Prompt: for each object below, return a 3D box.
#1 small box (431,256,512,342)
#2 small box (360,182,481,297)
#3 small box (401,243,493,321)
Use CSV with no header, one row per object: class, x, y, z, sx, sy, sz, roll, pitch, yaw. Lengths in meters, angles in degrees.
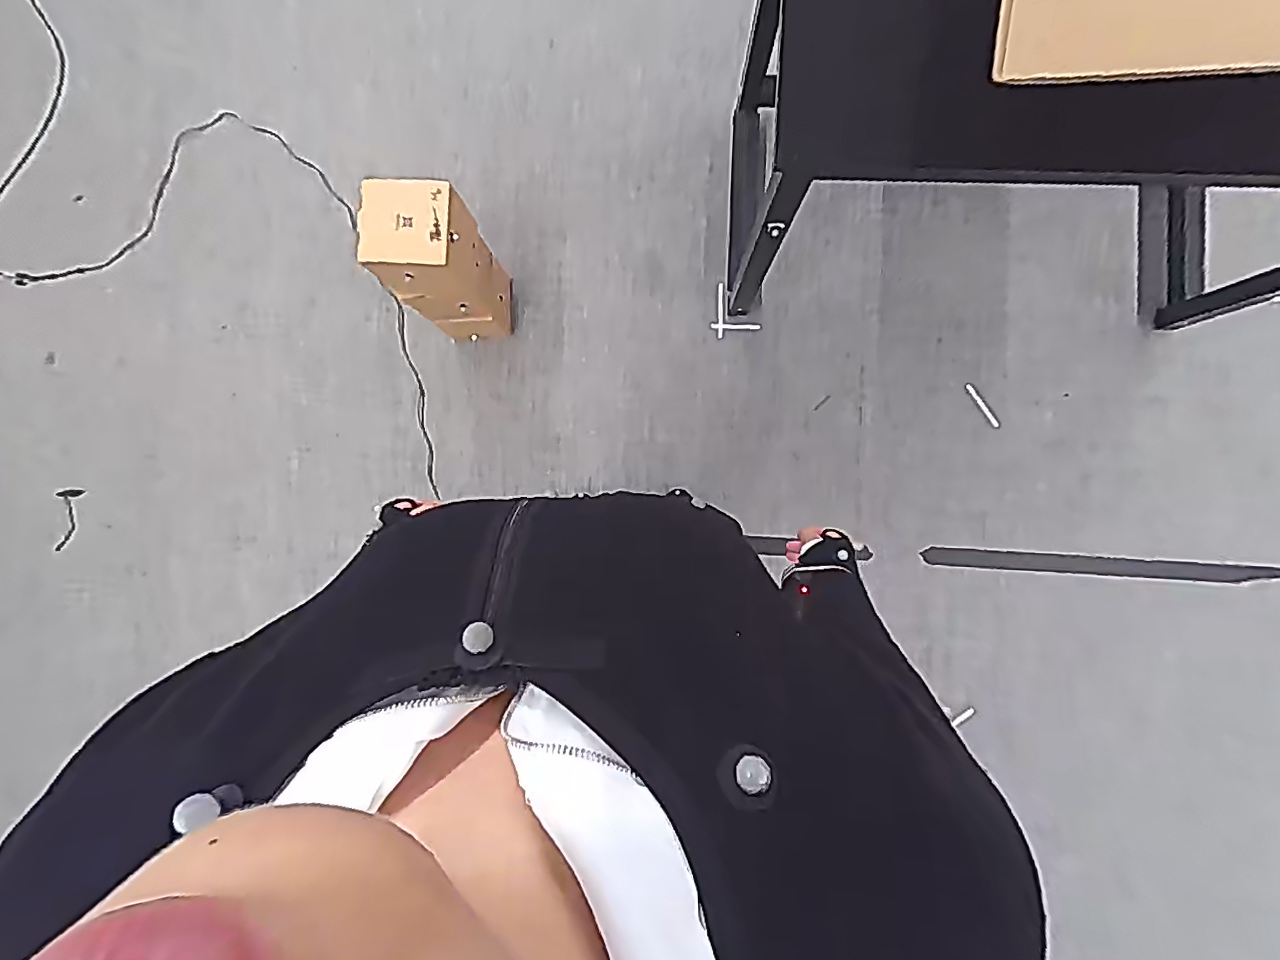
small box,-0.448,-0.480,1.453,0.168,0.176,0.179,-1,89,3
small box,-0.450,-0.492,1.127,0.179,0.176,0.168,3,89,3
small box,-0.457,-0.490,1.291,0.168,0.176,0.179,-4,87,2
